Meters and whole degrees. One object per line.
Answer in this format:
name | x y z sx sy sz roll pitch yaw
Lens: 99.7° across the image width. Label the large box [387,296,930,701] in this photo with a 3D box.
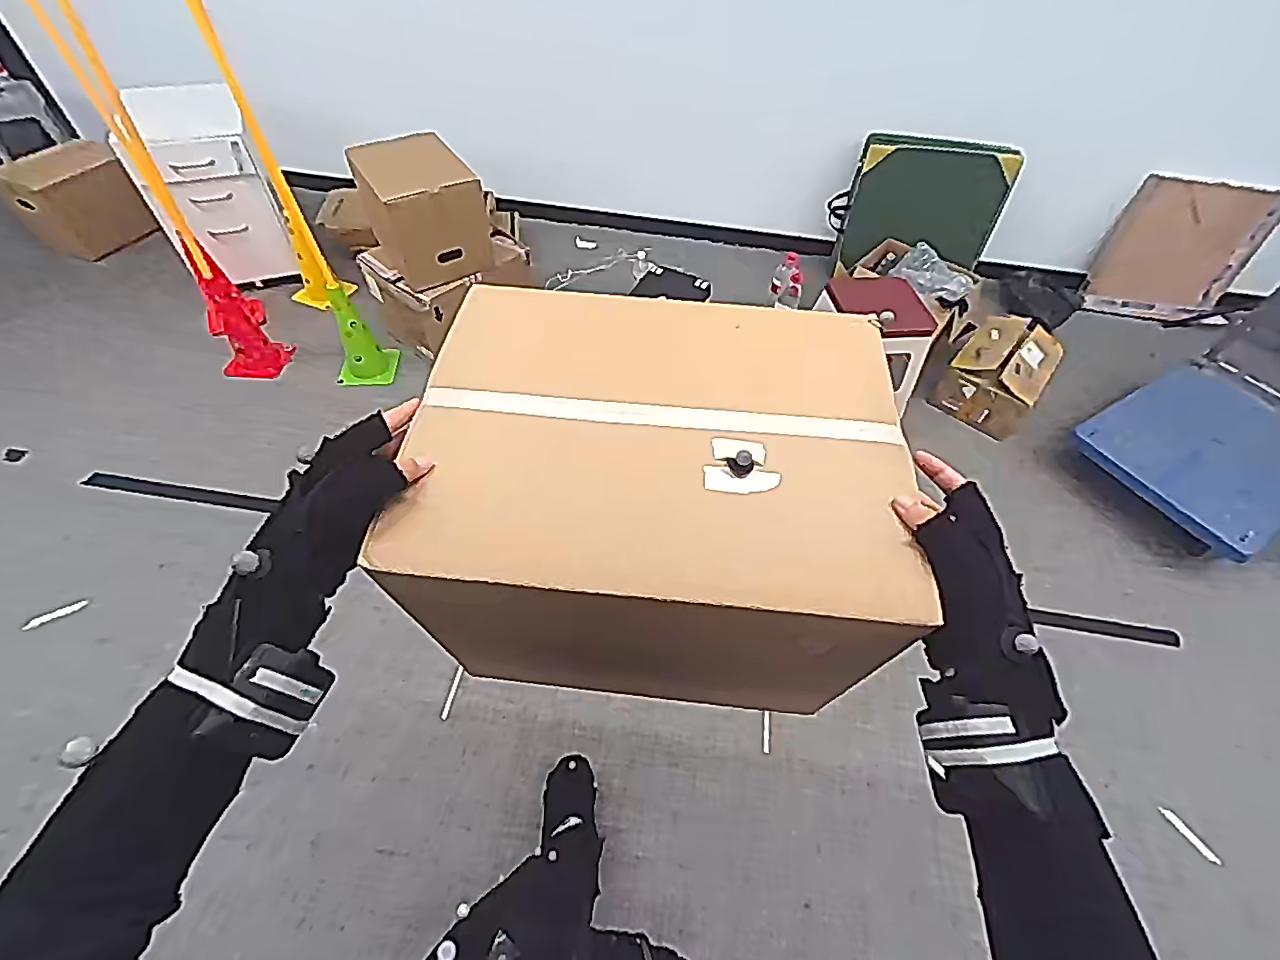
large box | 0.017 0.034 0.593 0.408 0.320 0.320 6 57 2
